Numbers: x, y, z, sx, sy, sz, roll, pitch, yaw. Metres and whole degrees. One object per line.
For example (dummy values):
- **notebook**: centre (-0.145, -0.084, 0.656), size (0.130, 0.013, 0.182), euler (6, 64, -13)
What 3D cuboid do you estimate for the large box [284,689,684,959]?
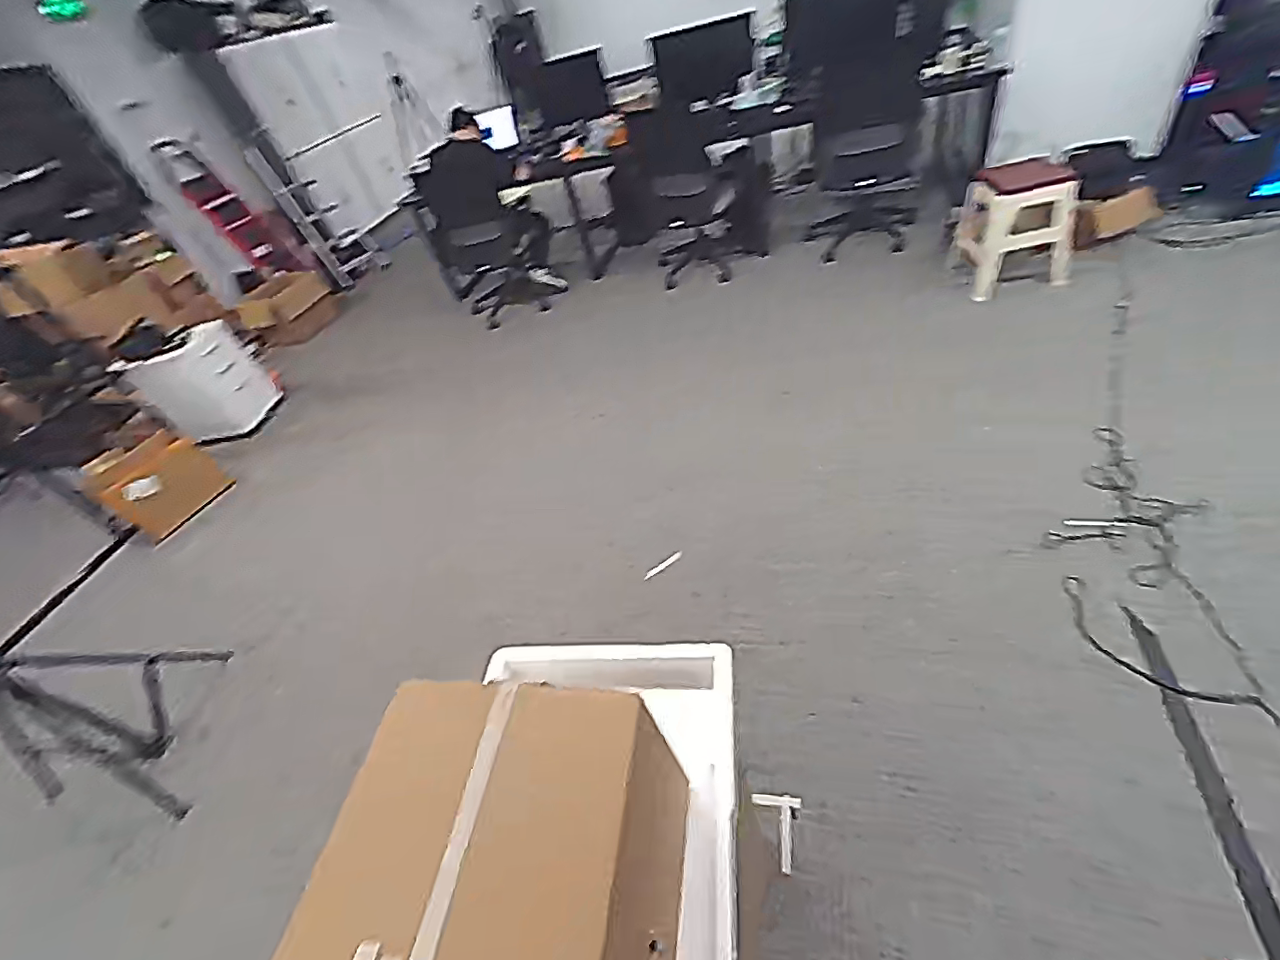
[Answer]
- **large box**: centre (-0.136, 0.487, 0.592), size (0.320, 0.320, 0.408), euler (-5, 46, 16)
